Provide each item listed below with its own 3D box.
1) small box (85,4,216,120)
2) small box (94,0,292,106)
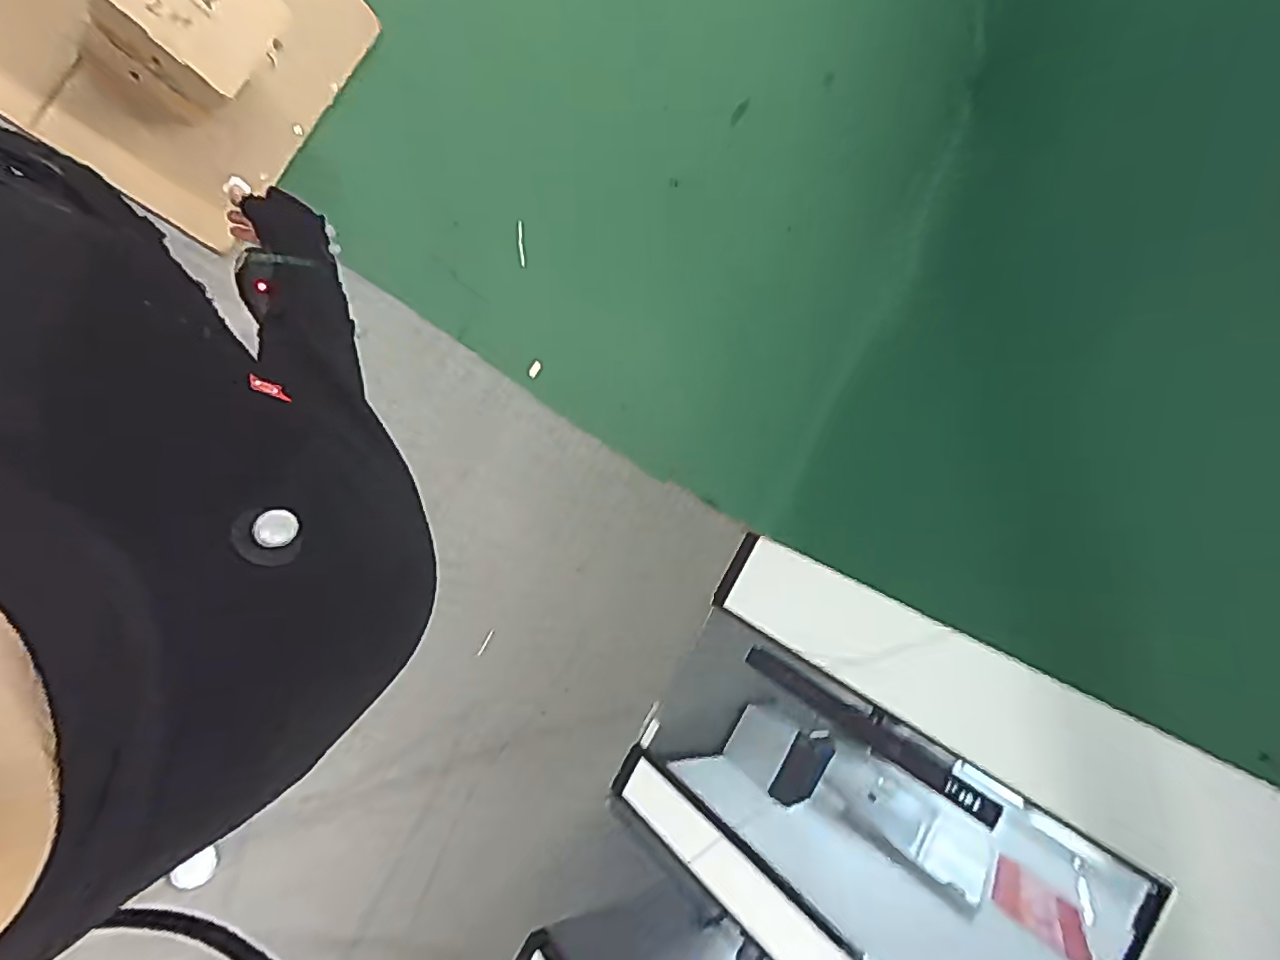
[{"bbox_3d":[-0.791,-0.750,0.913,0.168,0.176,0.179,33,86,-50],"label":"small box"},{"bbox_3d":[-0.671,-0.702,0.808,0.168,0.176,0.179,36,83,-49],"label":"small box"}]
